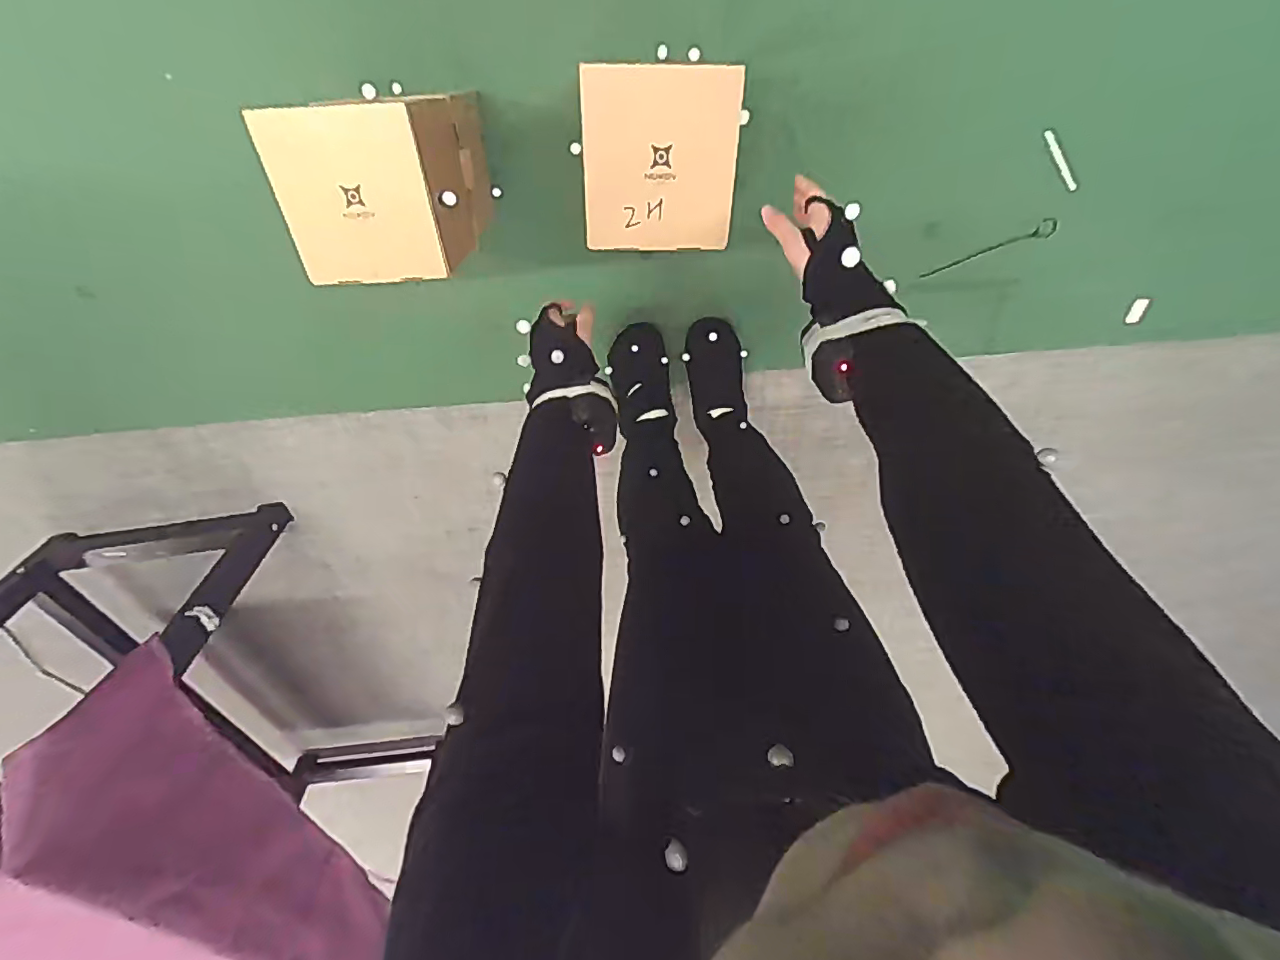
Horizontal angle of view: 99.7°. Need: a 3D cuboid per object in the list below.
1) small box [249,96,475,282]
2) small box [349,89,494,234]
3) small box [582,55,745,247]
[{"bbox_3d":[-0.314,-0.357,0.656,0.168,0.176,0.179,-3,128,0],"label":"small box"},{"bbox_3d":[-0.320,-0.460,0.783,0.179,0.176,0.168,-3,128,1],"label":"small box"},{"bbox_3d":[0.018,-0.391,0.641,0.168,0.176,0.179,-1,128,-2],"label":"small box"}]
